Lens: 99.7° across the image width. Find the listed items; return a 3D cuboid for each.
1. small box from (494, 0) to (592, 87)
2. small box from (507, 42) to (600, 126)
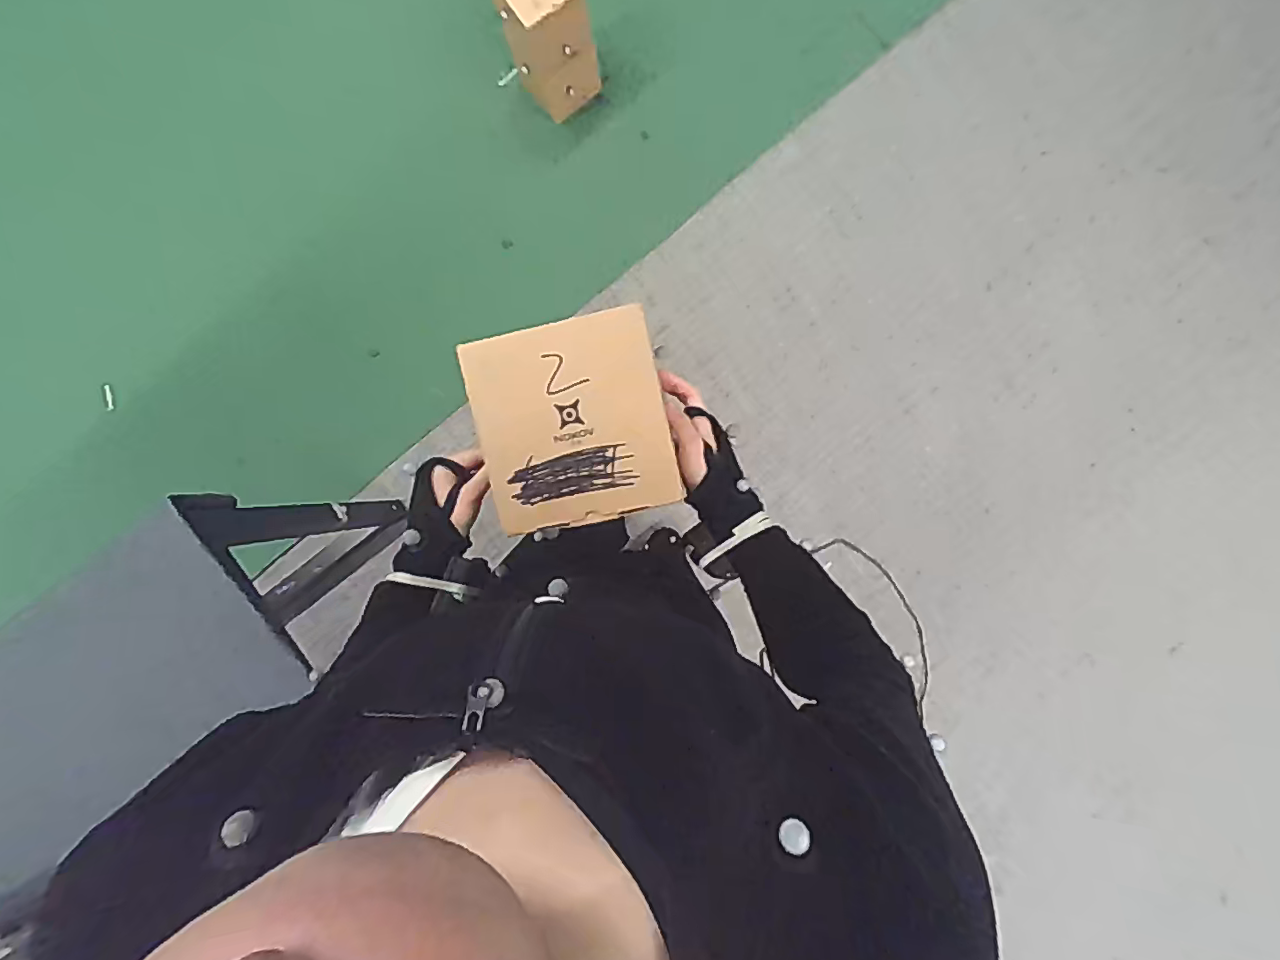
[{"bbox_3d":[-0.236,-1.120,1.312,0.168,0.176,0.179,-36,87,1],"label":"small box"},{"bbox_3d":[-0.226,-1.116,1.478,0.168,0.176,0.179,-38,86,1],"label":"small box"}]
